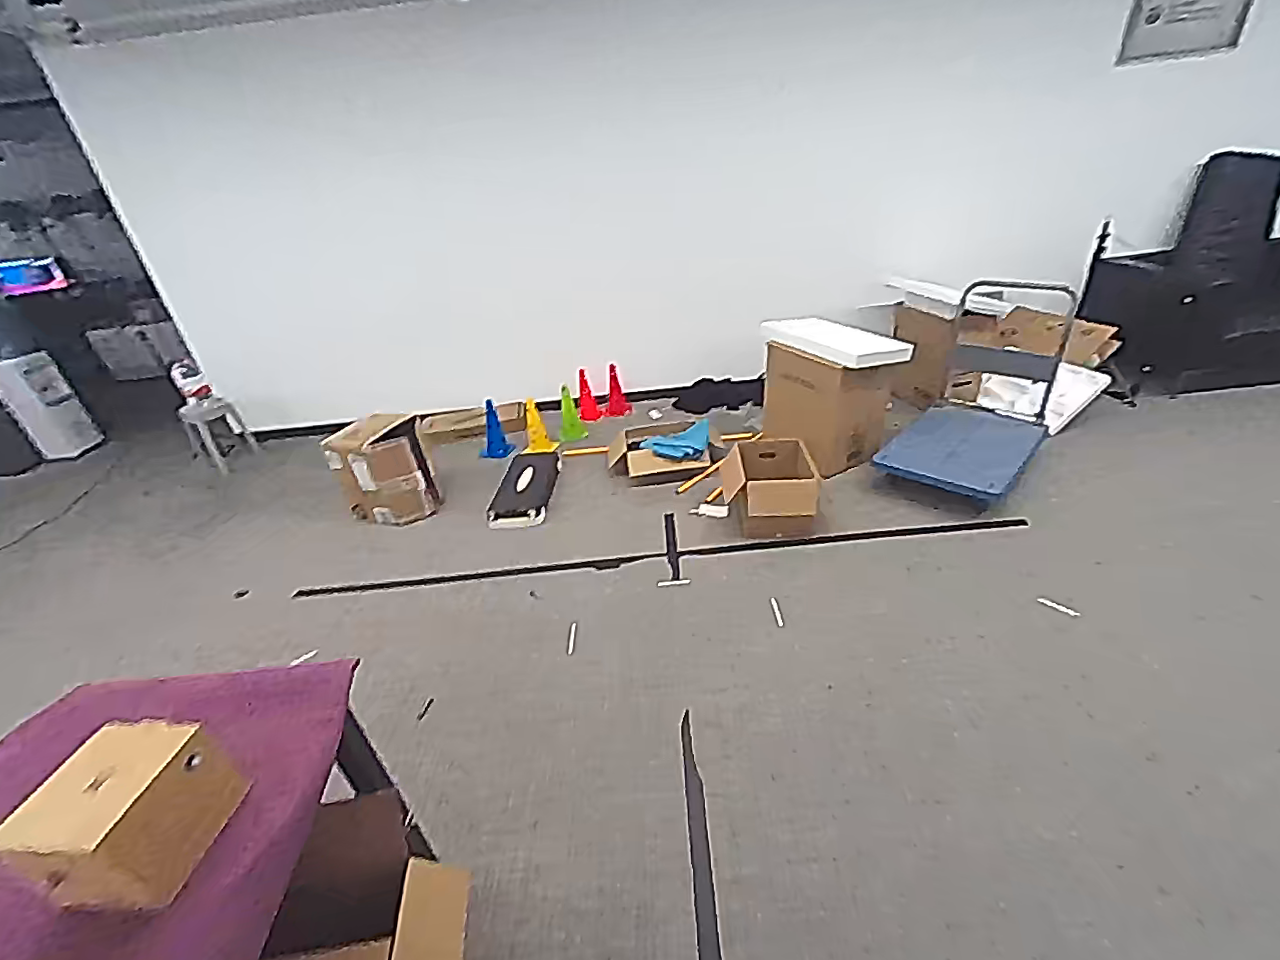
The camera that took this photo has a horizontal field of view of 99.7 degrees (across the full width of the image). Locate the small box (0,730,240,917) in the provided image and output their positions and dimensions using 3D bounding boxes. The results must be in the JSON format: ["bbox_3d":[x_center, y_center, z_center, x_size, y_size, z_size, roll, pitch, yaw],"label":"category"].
[{"bbox_3d":[-0.729,0.487,0.772,0.168,0.176,0.179,-4,29,6],"label":"small box"}]
